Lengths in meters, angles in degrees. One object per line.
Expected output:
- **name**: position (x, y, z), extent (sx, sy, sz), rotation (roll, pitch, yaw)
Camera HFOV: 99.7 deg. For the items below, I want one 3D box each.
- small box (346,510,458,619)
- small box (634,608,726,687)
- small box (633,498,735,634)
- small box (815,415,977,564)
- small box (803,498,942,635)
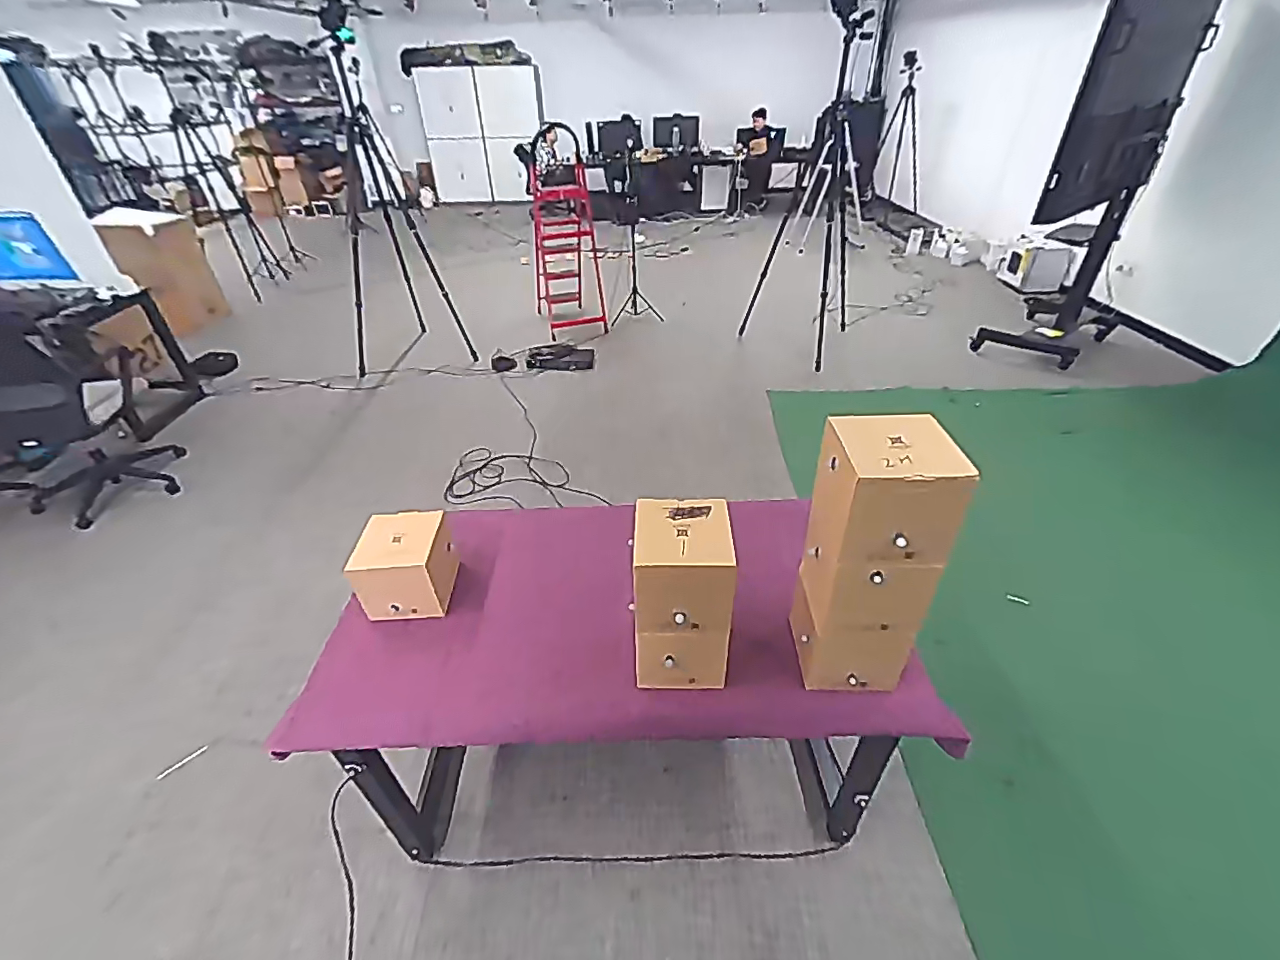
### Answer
- **small box**: position (-0.519, 0.188, 1.211), extent (0.168, 0.176, 0.179), rotation (-3, 38, -1)
- **small box**: position (0.077, 0.284, 1.058), extent (0.168, 0.176, 0.179), rotation (-1, 35, 2)
- **small box**: position (0.074, 0.150, 0.964), extent (0.168, 0.176, 0.179), rotation (0, 36, 3)
- **small box**: position (0.384, 0.012, 0.853), extent (0.168, 0.176, 0.179), rotation (-1, 37, 3)
- **small box**: position (0.391, 0.147, 0.947), extent (0.168, 0.176, 0.179), rotation (-1, 35, 4)
